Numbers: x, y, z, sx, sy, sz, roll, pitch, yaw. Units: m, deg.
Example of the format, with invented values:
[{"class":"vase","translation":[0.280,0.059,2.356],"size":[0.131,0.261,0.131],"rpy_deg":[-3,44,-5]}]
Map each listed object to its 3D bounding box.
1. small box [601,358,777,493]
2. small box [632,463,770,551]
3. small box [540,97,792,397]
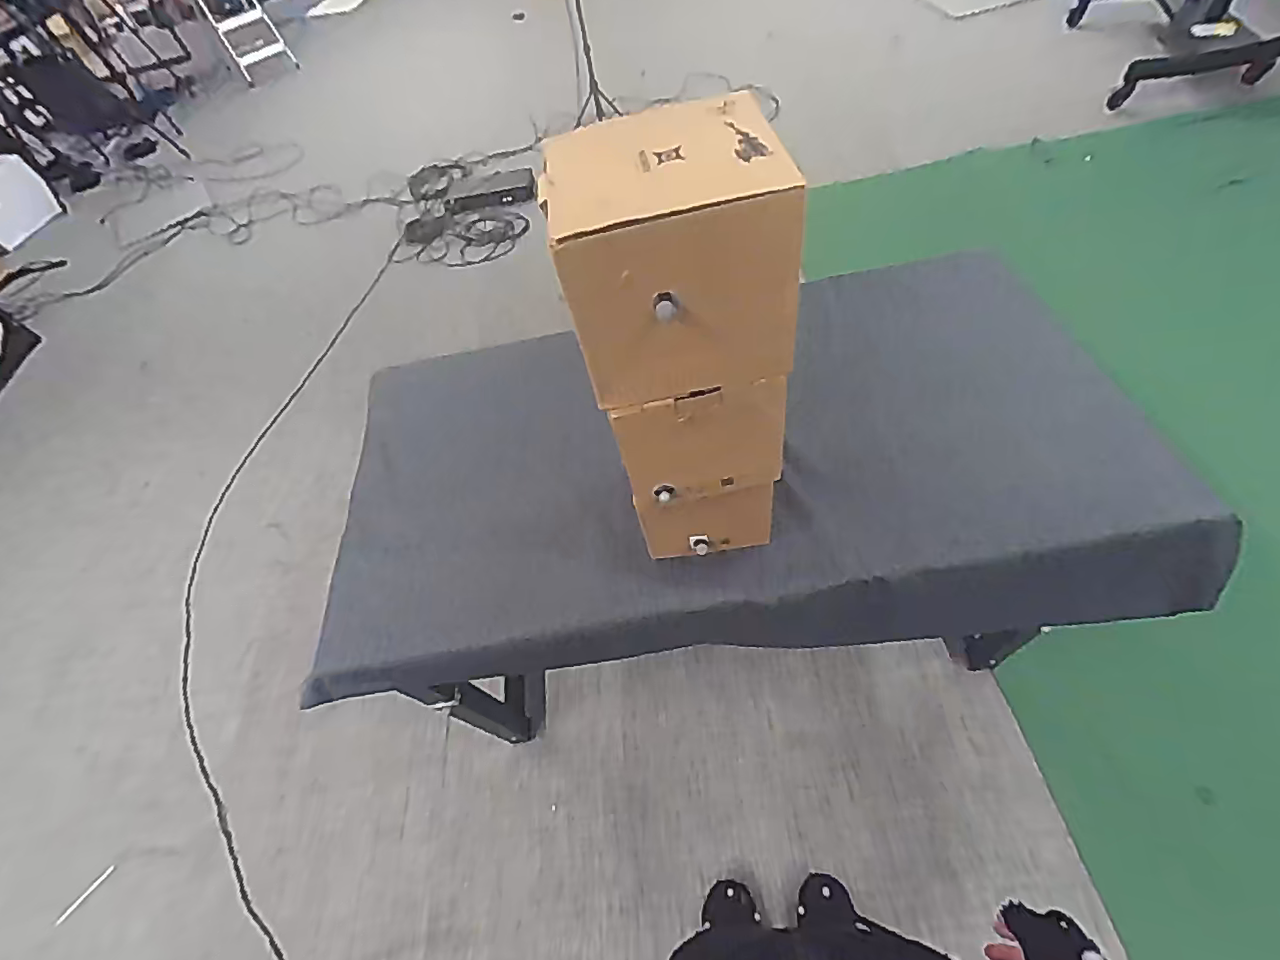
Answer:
[{"class":"small box","translation":[0.047,-0.103,0.607],"size":[0.168,0.176,0.179],"rpy_deg":[-16,55,2]},{"class":"small box","translation":[0.077,-0.023,0.748],"size":[0.168,0.176,0.179],"rpy_deg":[-10,56,5]},{"class":"small box","translation":[0.023,-0.196,0.478],"size":[0.179,0.176,0.168],"rpy_deg":[-13,53,2]}]
